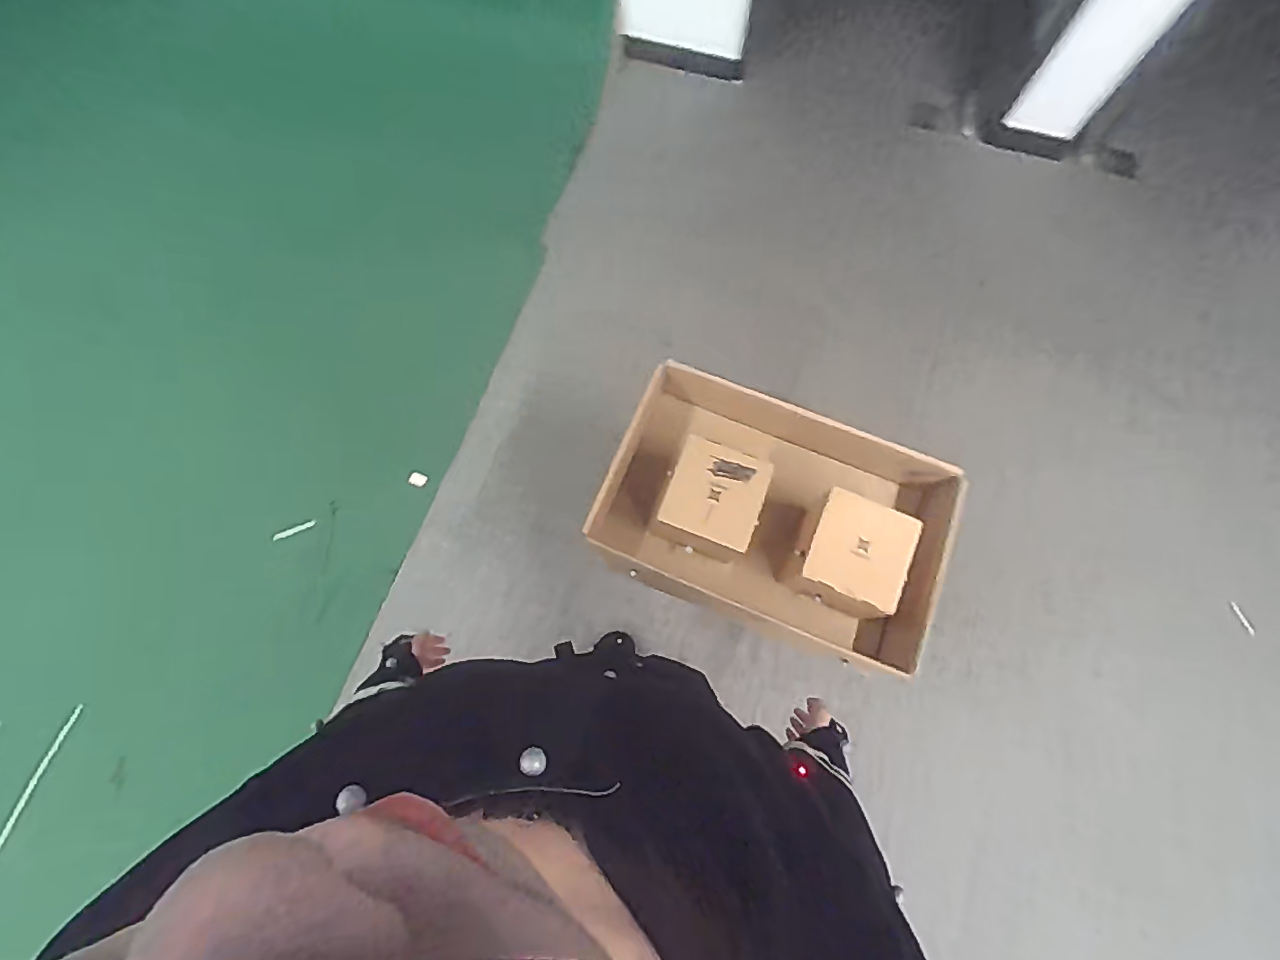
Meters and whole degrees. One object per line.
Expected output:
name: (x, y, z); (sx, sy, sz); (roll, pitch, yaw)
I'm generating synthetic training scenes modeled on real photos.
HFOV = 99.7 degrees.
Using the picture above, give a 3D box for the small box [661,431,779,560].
small box: (0.141, 0.037, 1.027); (0.168, 0.176, 0.179); (22, 77, 6)
